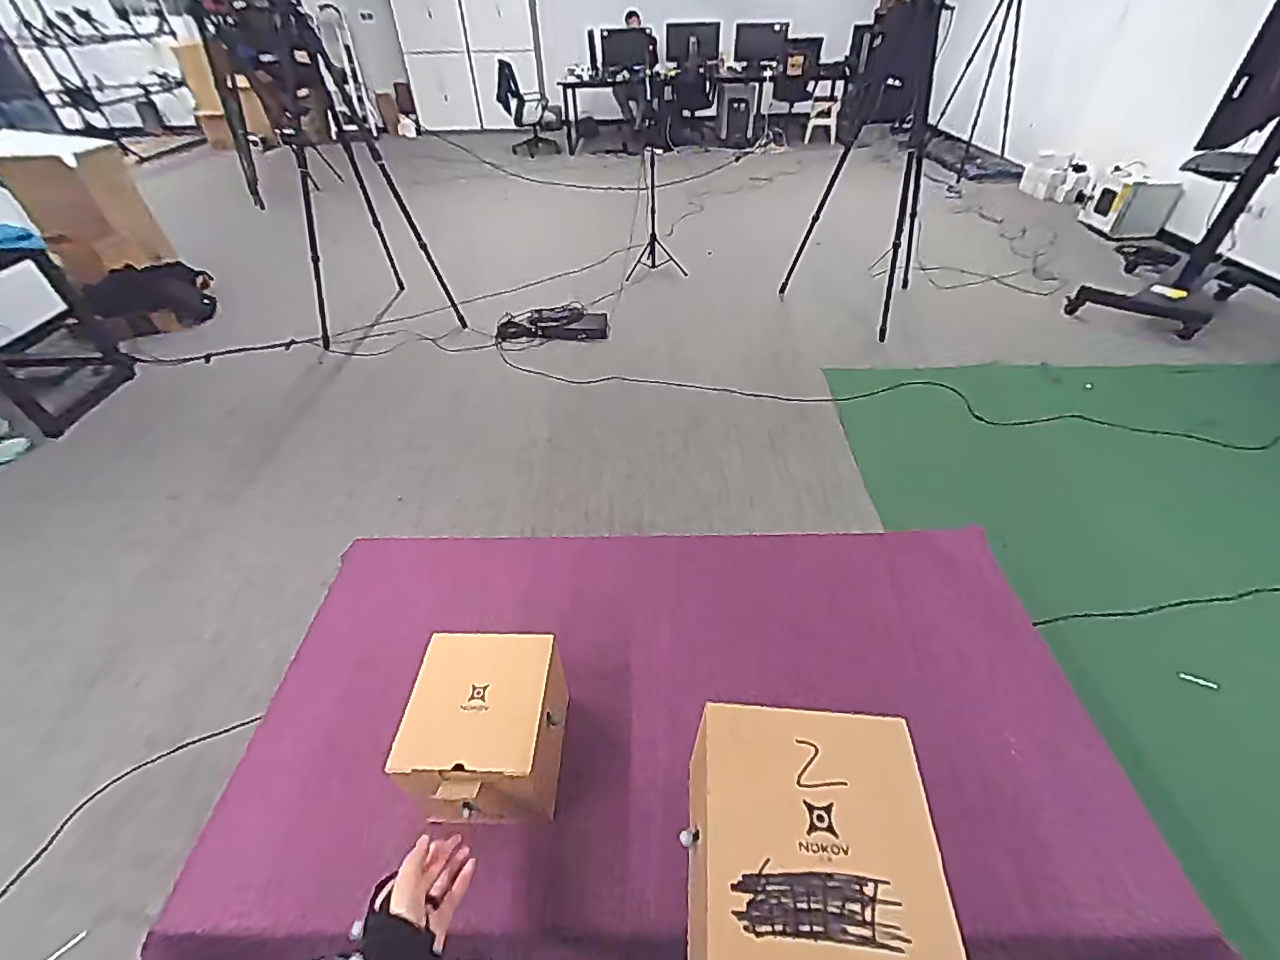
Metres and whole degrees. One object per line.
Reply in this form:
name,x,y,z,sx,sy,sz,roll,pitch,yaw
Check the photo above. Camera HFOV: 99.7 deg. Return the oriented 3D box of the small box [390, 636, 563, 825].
small box,-0.200,0.333,0.723,0.168,0.176,0.179,1,42,2
